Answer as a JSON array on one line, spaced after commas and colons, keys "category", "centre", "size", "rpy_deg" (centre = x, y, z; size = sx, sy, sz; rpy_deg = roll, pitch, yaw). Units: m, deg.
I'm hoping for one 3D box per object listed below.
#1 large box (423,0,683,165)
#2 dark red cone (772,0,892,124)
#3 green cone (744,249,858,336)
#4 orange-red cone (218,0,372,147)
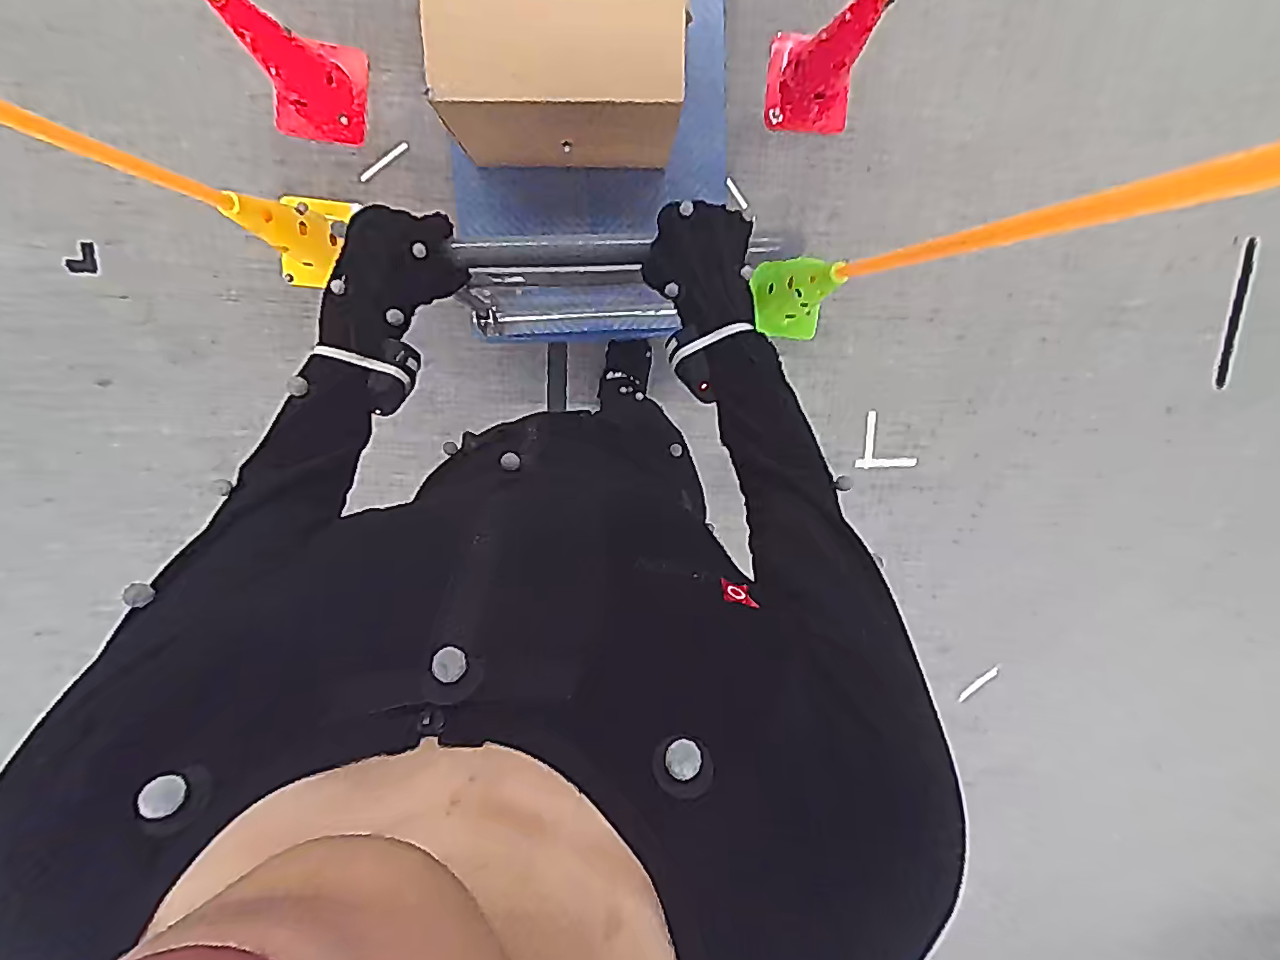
[{"category": "large box", "centre": [-0.136, -0.783, 0.969], "size": [0.408, 0.320, 0.320], "rpy_deg": [-1, 103, -1]}, {"category": "dark red cone", "centre": [0.422, -0.912, 1.101], "size": [0.201, 0.394, 0.202], "rpy_deg": [1, 103, -5]}, {"category": "green cone", "centre": [0.385, -0.442, 1.219], "size": [0.202, 0.368, 0.200], "rpy_deg": [5, 102, -5]}, {"category": "orange-red cone", "centre": [-0.710, -0.854, 1.073], "size": [0.198, 0.360, 0.199], "rpy_deg": [8, 100, -6]}]
